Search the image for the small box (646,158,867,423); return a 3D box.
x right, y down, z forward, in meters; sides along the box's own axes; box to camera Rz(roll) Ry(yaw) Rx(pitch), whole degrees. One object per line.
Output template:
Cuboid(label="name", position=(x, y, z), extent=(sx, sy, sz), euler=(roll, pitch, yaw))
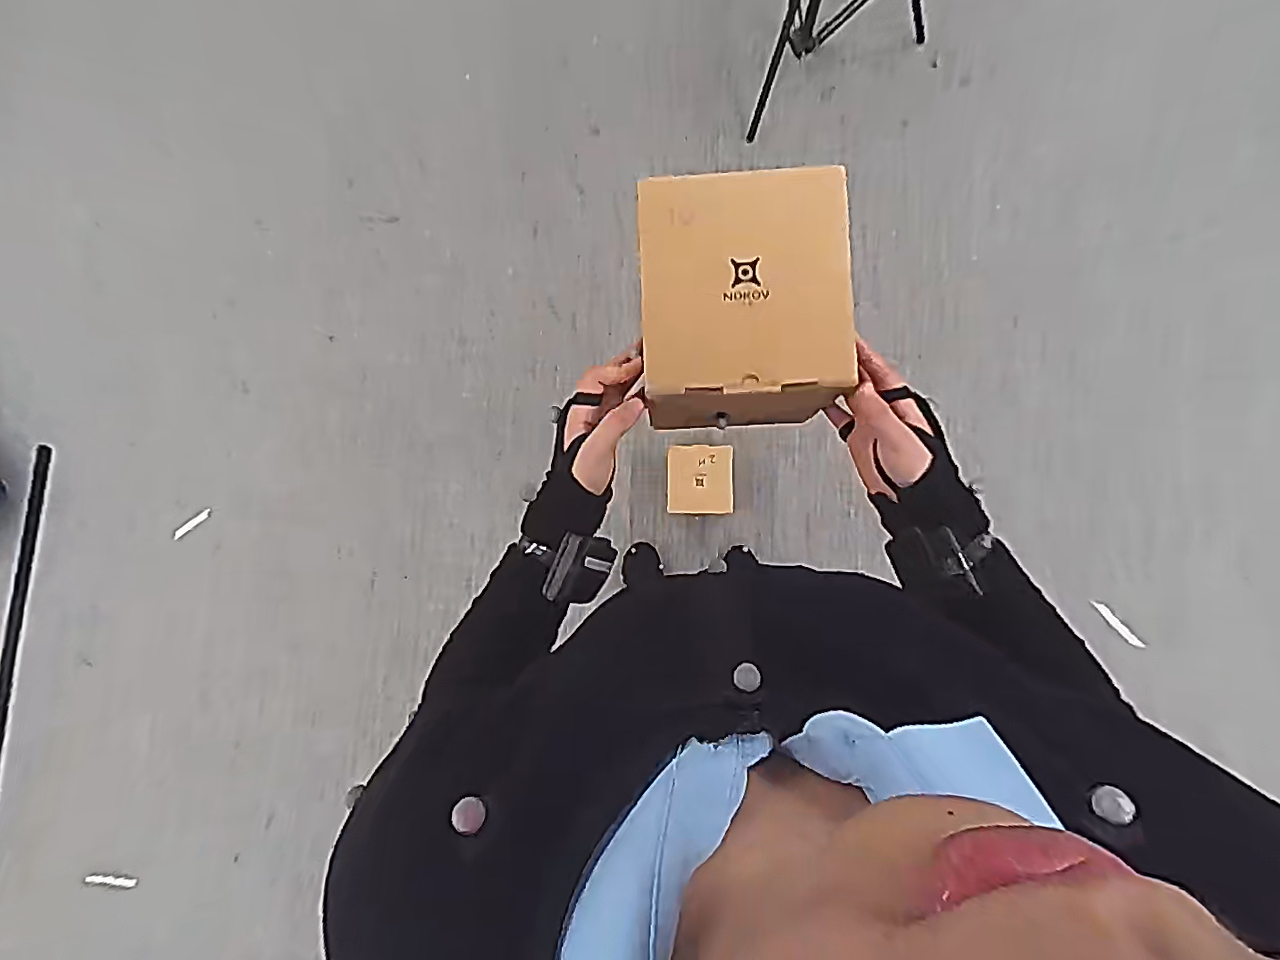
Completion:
Cuboid(label="small box", position=(0.090, -0.153, 0.490), extent=(0.168, 0.176, 0.179), euler=(-2, 88, 3))

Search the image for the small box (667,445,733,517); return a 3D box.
Cuboid(label="small box", position=(0.158, 0.008, 1.437), extent=(0.168, 0.176, 0.179), euler=(1, 84, 4))
